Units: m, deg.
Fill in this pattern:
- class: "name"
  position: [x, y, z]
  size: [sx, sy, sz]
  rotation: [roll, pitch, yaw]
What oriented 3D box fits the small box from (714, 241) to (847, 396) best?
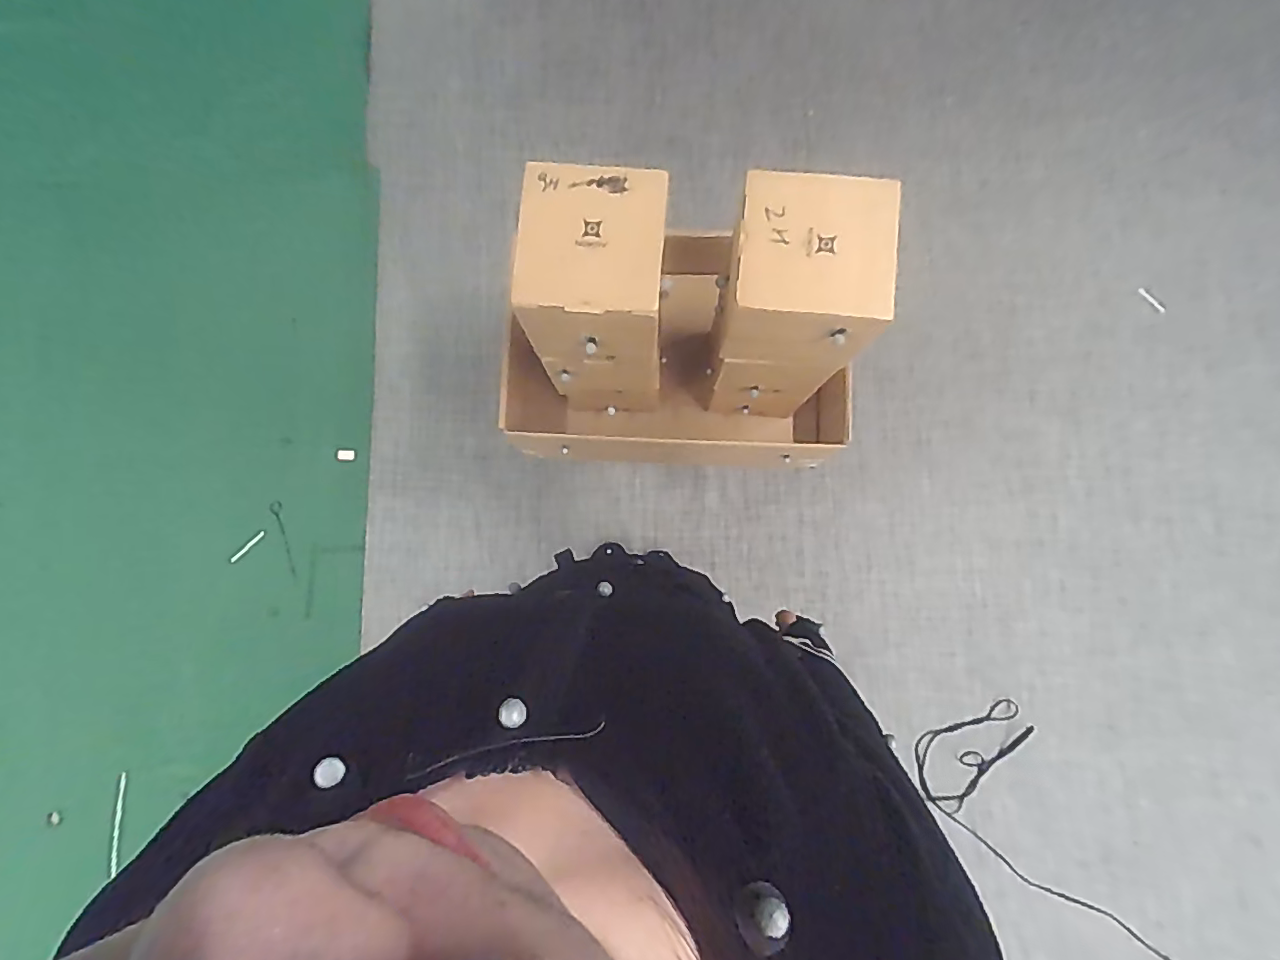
- class: "small box"
  position: [0.209, -0.242, 0.841]
  size: [0.168, 0.176, 0.179]
  rotation: [5, 85, 3]
